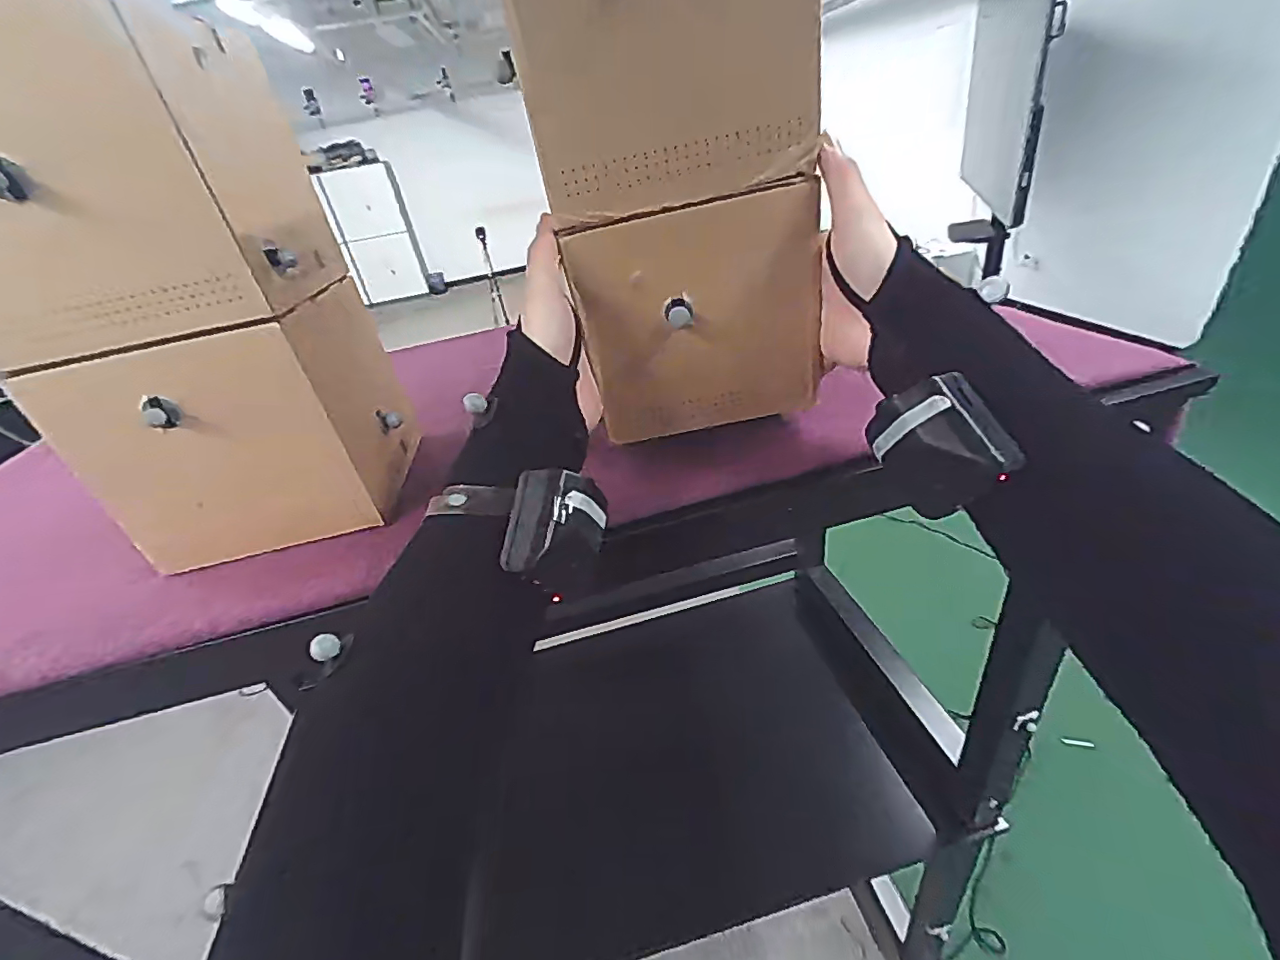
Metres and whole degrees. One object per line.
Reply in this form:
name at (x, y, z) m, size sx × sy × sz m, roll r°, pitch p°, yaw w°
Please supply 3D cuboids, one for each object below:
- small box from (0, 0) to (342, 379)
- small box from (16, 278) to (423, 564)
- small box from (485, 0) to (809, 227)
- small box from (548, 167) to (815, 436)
small box at (-0.342, -0.187, 0.367) m, size 0.179 × 0.176 × 0.168 m, roll -15°, pitch 32°, yaw -2°
small box at (-0.313, -0.052, 0.455) m, size 0.179 × 0.176 × 0.168 m, roll -14°, pitch 33°, yaw -2°
small box at (0.002, -0.285, 0.361) m, size 0.179 × 0.176 × 0.168 m, roll -12°, pitch 36°, yaw 3°
small box at (0.036, -0.156, 0.456) m, size 0.179 × 0.176 × 0.168 m, roll -12°, pitch 36°, yaw 4°
